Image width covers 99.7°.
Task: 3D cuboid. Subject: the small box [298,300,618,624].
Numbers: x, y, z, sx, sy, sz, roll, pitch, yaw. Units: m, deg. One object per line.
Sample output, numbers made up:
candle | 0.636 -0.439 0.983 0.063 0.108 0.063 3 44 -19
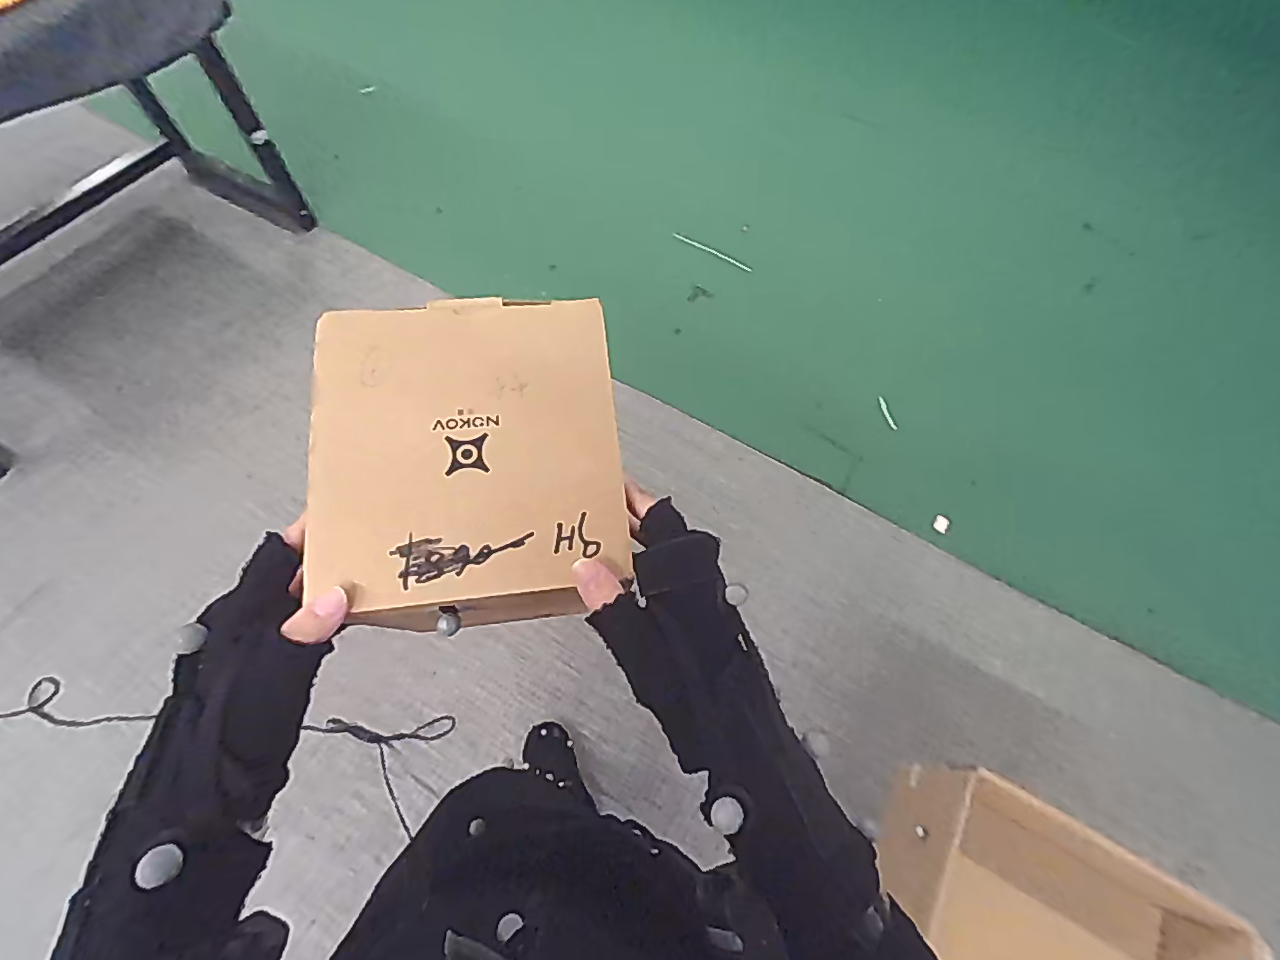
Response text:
small box | -0.109 -0.001 0.383 0.168 0.176 0.179 -6 73 -7
